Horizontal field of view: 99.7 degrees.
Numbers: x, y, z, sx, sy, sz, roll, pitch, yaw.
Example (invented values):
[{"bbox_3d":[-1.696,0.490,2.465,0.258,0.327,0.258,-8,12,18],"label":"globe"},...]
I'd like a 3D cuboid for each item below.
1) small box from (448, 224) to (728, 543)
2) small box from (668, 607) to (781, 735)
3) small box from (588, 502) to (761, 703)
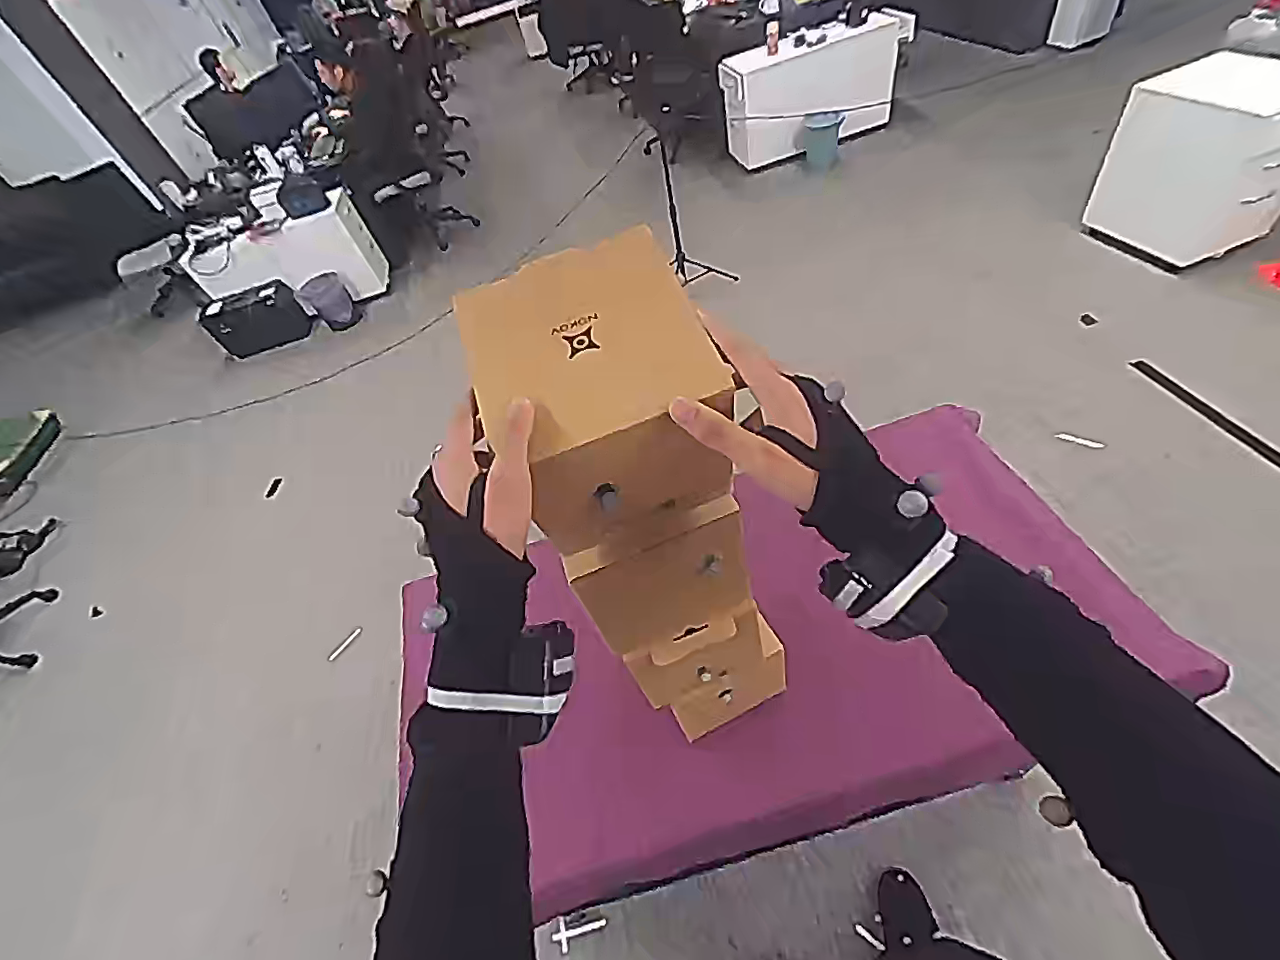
[{"bbox_3d":[-0.033,-0.065,0.449,0.168,0.176,0.179,-21,61,-2],"label":"small box"},{"bbox_3d":[0.106,0.266,0.842,0.179,0.176,0.168,-26,49,-7],"label":"small box"},{"bbox_3d":[0.048,0.164,0.723,0.168,0.176,0.179,-23,48,-2],"label":"small box"}]
